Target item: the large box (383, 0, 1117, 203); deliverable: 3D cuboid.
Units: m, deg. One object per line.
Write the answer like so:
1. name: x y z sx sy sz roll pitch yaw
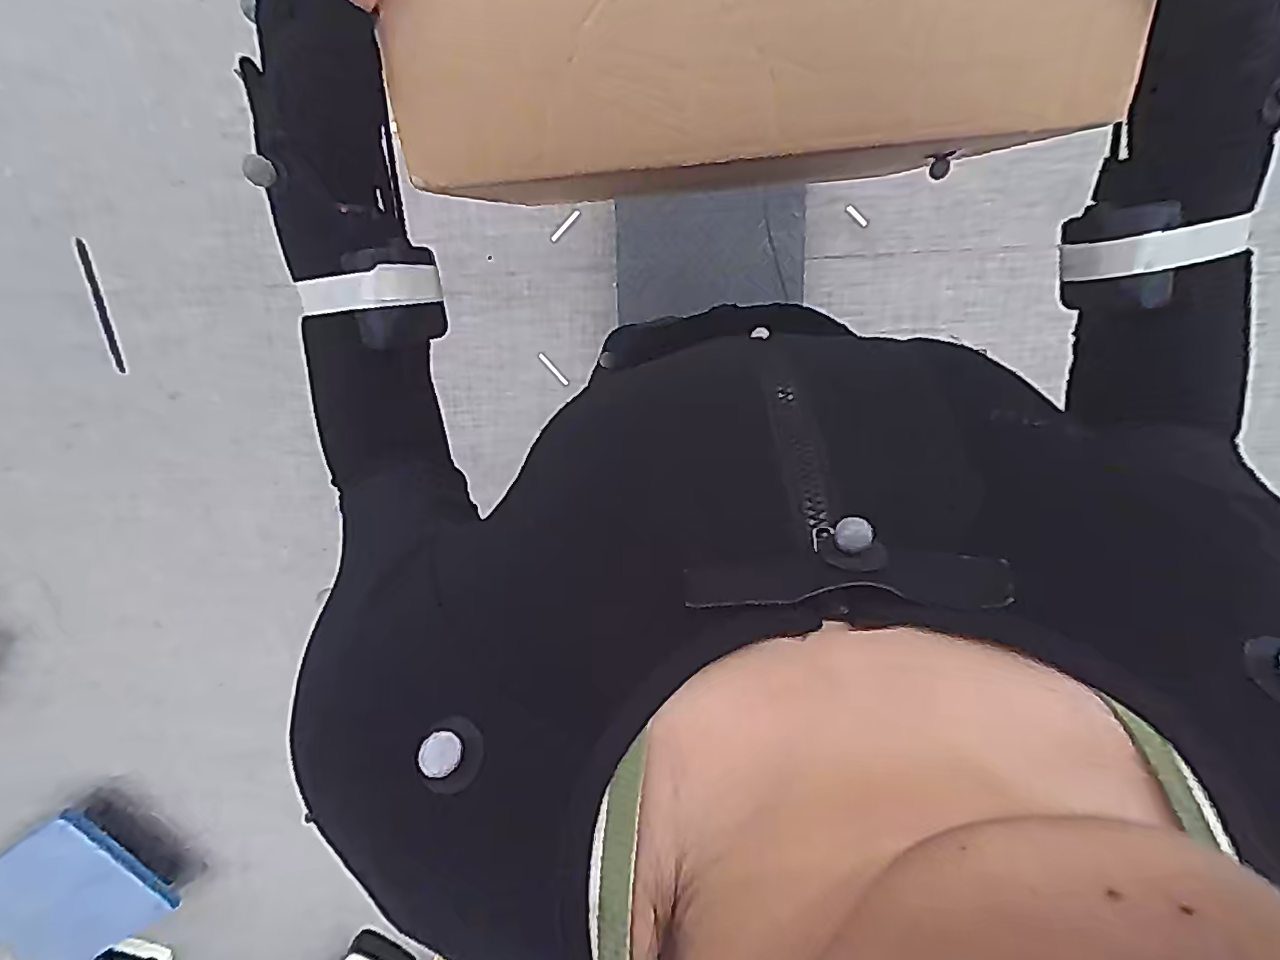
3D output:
1. large box: 0.056 -0.395 0.394 0.408 0.320 0.320 -4 115 3
